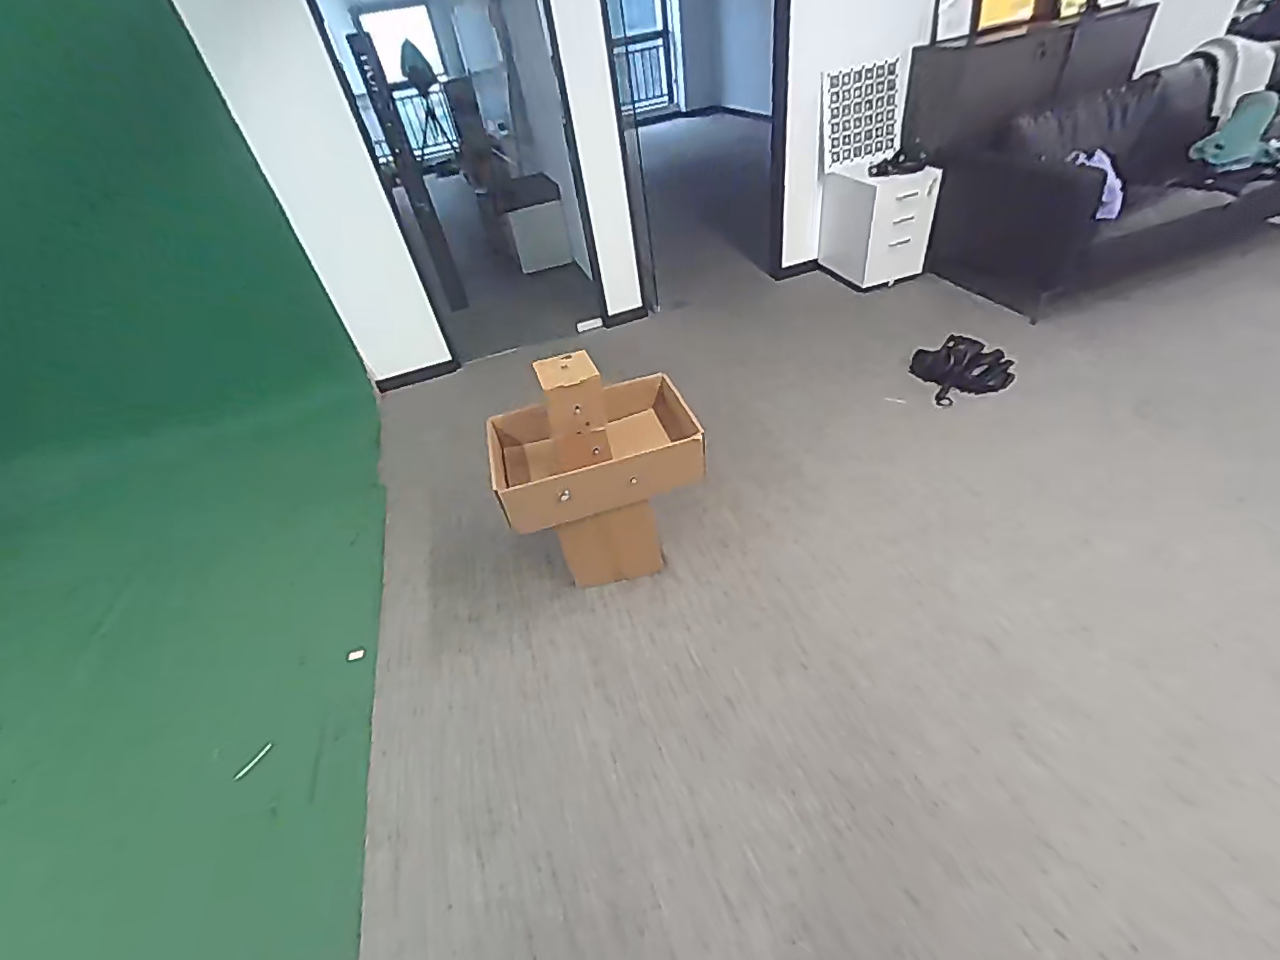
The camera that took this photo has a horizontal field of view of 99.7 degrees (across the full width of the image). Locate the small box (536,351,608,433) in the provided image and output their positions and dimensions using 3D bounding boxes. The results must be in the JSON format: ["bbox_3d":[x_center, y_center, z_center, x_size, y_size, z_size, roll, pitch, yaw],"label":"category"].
[{"bbox_3d":[-0.199,-0.255,1.599,0.168,0.176,0.179,-16,41,-11],"label":"small box"}]

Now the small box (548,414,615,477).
[{"bbox_3d":[-0.182,-0.125,1.699,0.168,0.176,0.179,-14,39,-9],"label":"small box"}]
